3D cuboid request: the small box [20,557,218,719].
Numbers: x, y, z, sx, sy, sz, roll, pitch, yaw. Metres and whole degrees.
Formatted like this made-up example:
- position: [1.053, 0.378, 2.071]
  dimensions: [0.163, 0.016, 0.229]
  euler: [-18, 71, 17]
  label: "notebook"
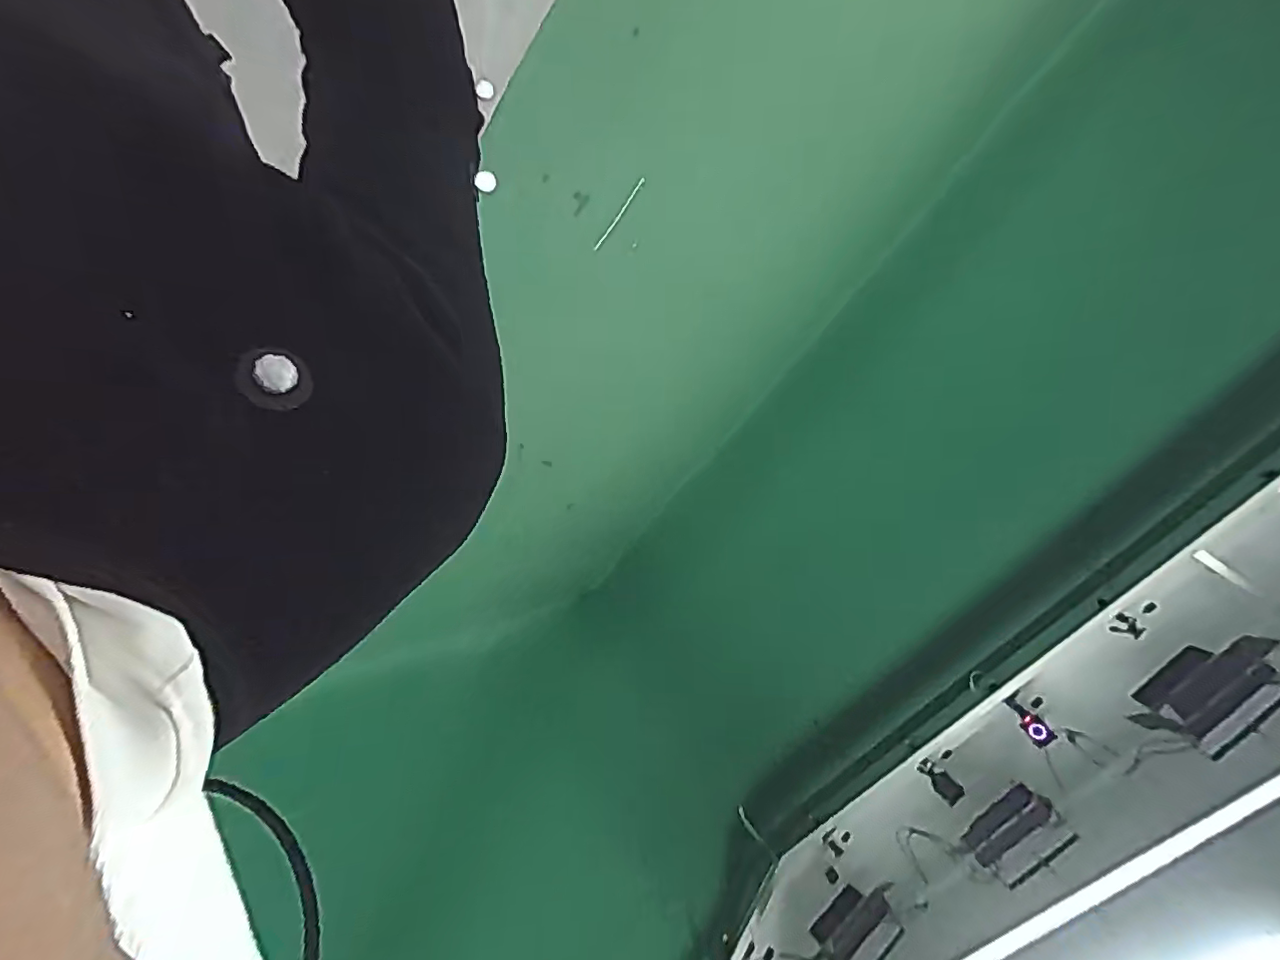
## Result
- position: [-0.823, 0.236, 0.856]
  dimensions: [0.168, 0.176, 0.179]
  euler: [-49, 155, 18]
  label: "small box"
